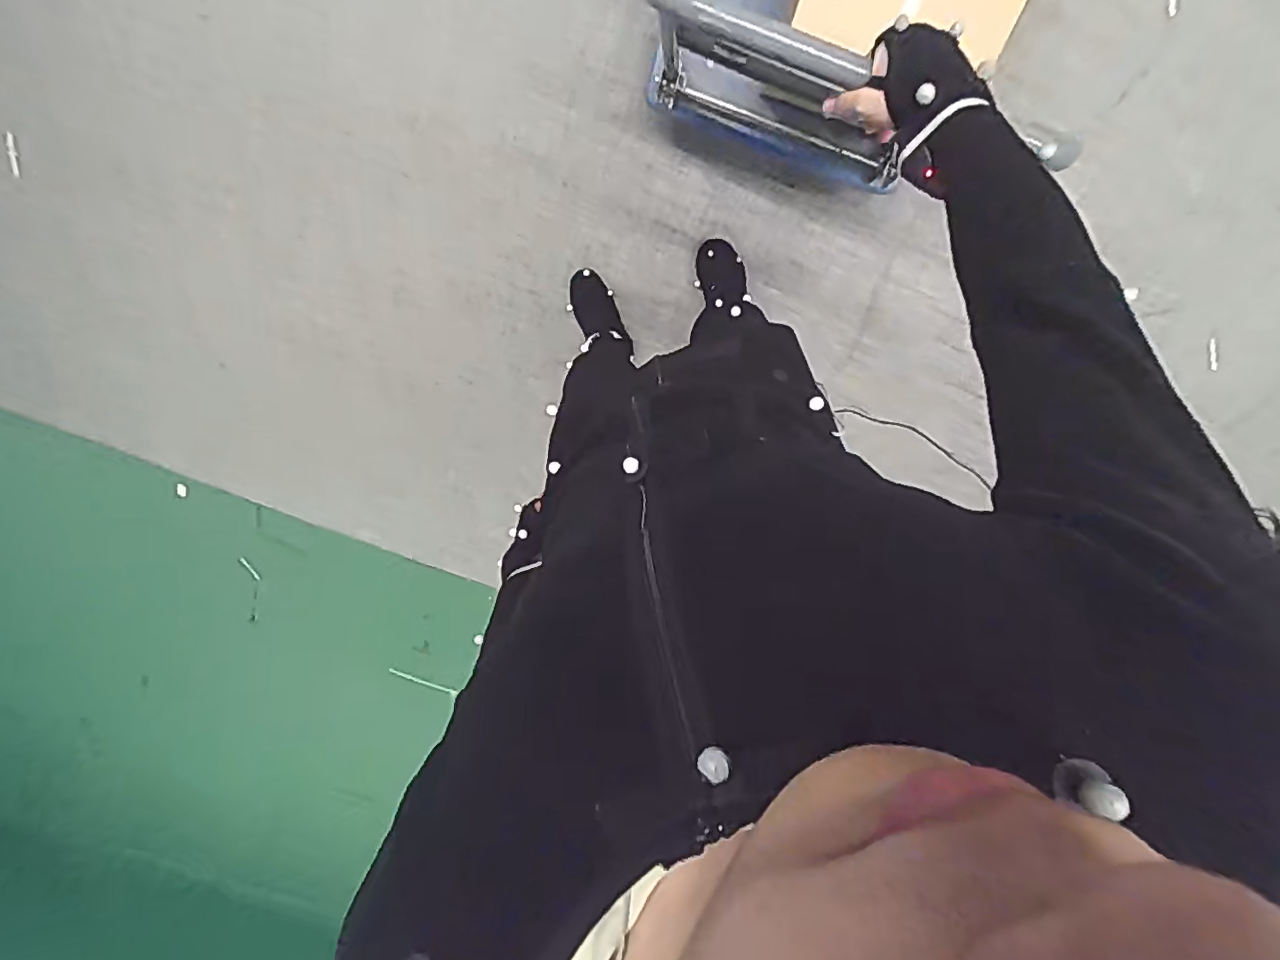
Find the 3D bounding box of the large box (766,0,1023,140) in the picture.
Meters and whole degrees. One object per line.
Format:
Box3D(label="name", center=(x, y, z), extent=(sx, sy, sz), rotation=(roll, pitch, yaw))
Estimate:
Box3D(label="large box", center=(0.435, -0.841, 0.890), extent=(0.320, 0.320, 0.408), rotation=(17, 118, -4))
